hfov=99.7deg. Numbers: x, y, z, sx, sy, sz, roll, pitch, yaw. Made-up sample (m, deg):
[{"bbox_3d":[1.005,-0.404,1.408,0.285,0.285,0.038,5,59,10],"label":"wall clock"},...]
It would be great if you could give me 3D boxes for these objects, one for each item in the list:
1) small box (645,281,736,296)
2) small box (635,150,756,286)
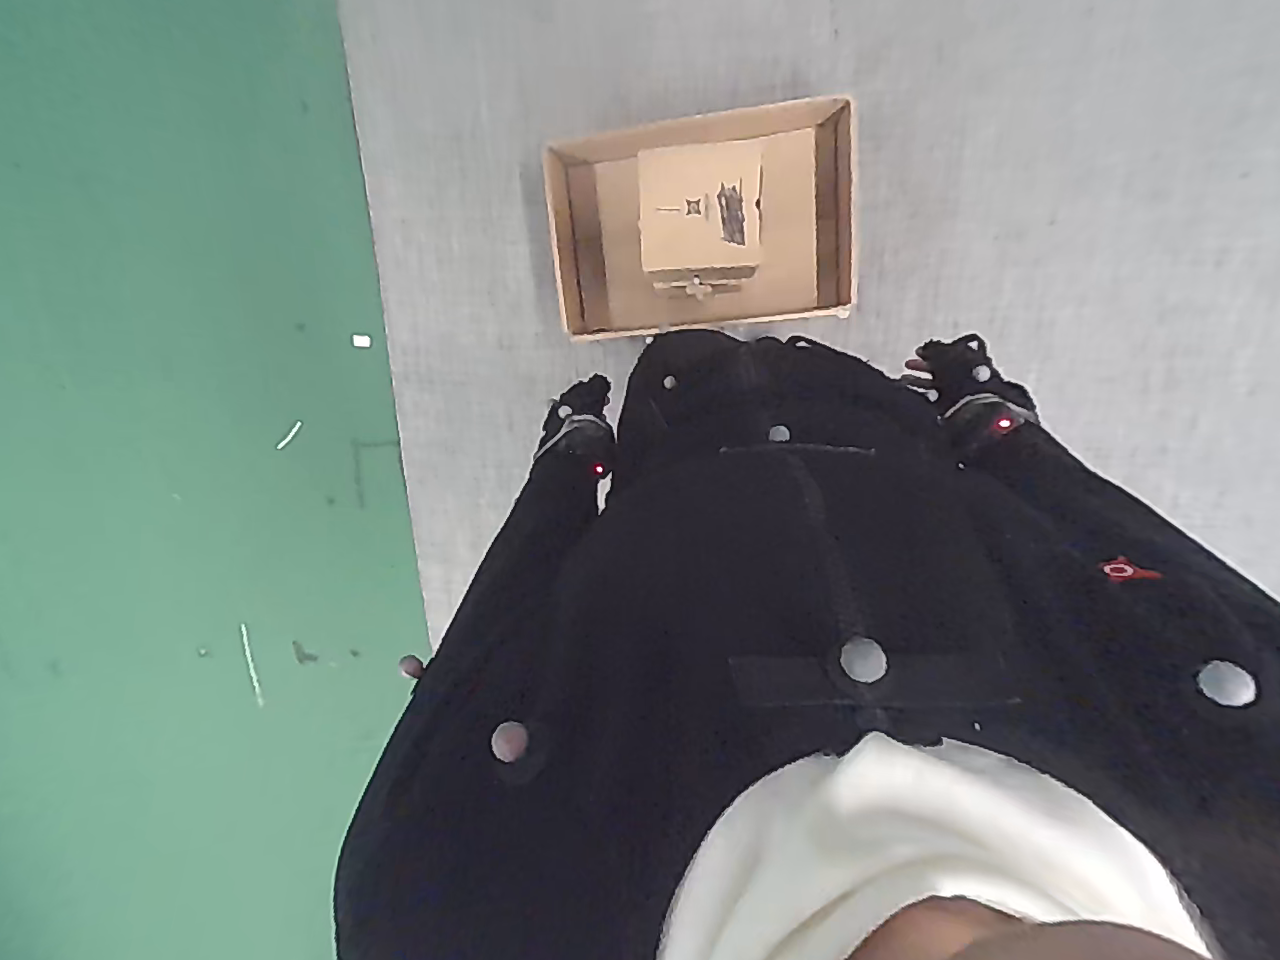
[{"bbox_3d":[0.099,-0.442,1.016,0.168,0.176,0.179,0,105,7],"label":"small box"},{"bbox_3d":[0.089,-0.410,0.871,0.179,0.176,0.168,0,103,7],"label":"small box"}]
